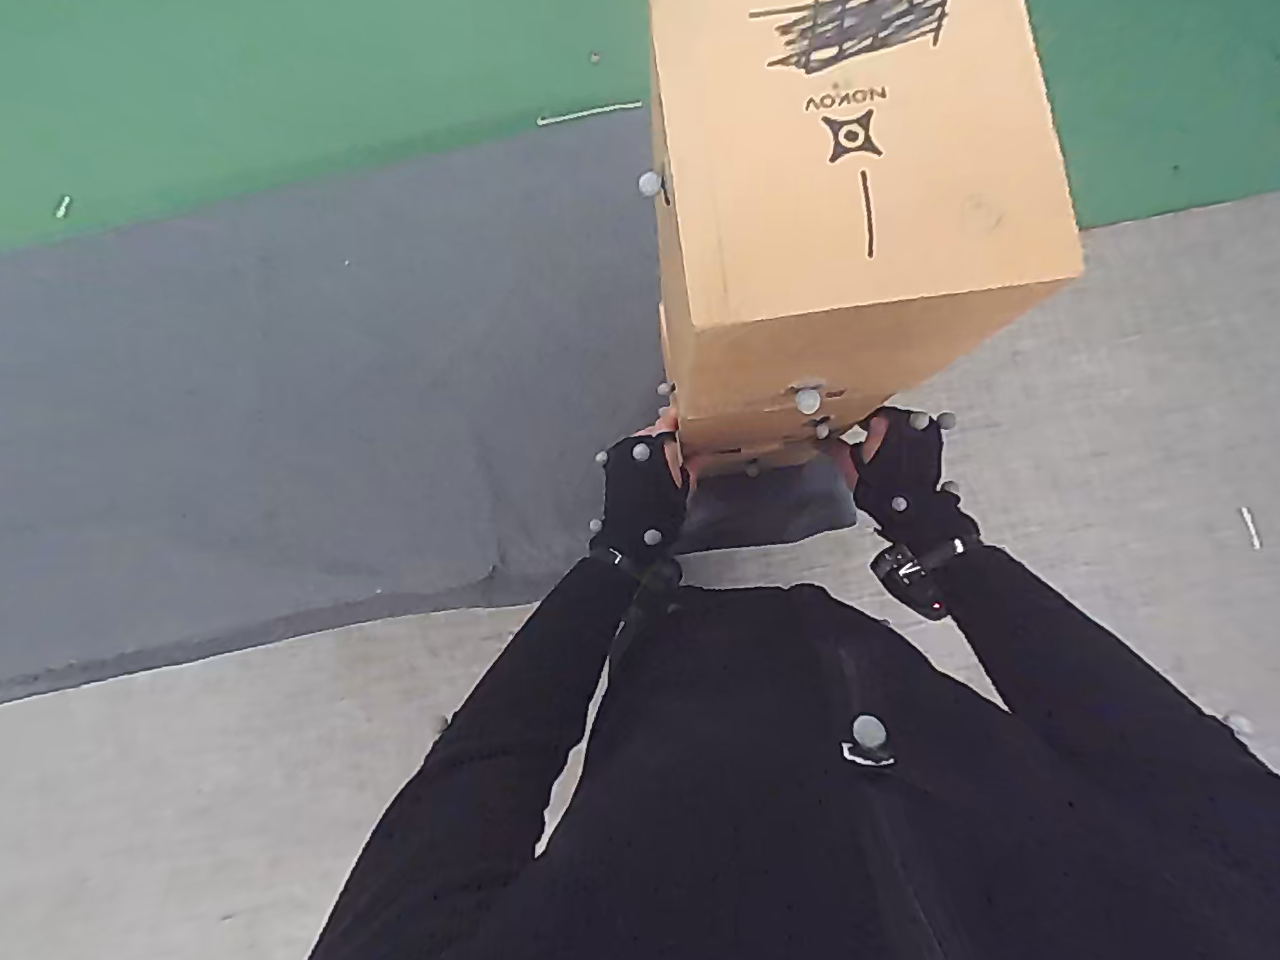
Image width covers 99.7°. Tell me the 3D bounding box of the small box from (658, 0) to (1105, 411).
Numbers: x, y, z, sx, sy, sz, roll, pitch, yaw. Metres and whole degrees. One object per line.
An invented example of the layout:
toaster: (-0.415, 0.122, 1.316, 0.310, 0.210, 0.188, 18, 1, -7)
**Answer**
small box: (0.100, -0.153, 0.310, 0.168, 0.176, 0.179, -7, 81, 4)

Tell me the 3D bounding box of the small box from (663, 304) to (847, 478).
small box: (0.124, -0.103, 0.633, 0.168, 0.176, 0.179, -9, 81, 4)

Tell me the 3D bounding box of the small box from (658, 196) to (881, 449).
small box: (0.110, -0.131, 0.473, 0.168, 0.176, 0.179, -8, 79, 3)
